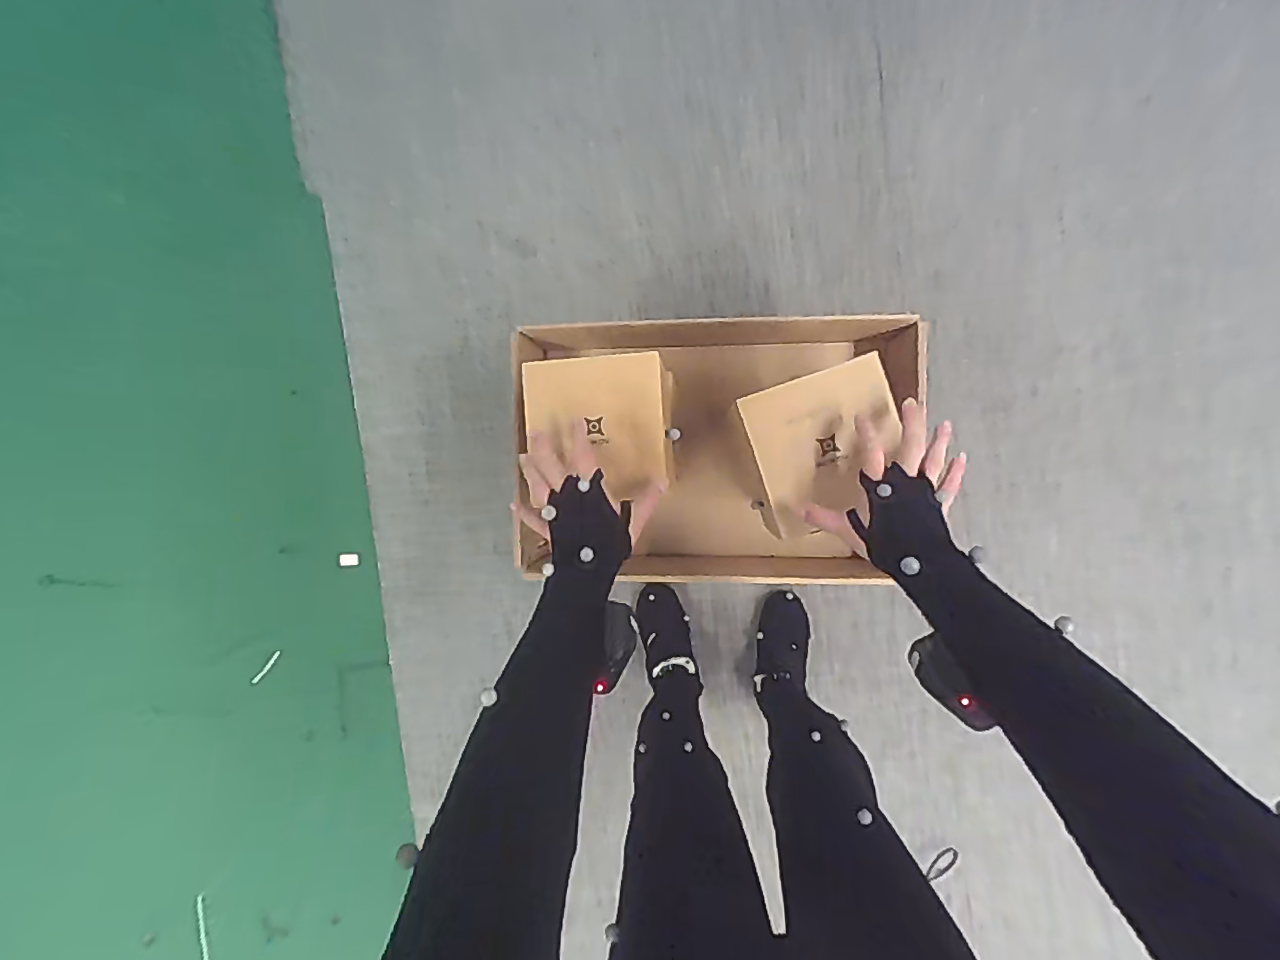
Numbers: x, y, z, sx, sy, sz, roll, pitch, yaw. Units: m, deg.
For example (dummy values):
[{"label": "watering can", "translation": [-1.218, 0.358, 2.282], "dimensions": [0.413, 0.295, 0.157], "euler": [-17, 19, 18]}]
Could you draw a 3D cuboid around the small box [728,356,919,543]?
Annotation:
[{"label": "small box", "translation": [0.218, -0.036, 0.687], "dimensions": [0.168, 0.176, 0.179], "euler": [-18, 89, 6]}]

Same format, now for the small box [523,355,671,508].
[{"label": "small box", "translation": [-0.048, -0.057, 0.719], "dimensions": [0.168, 0.176, 0.179], "euler": [-4, 91, 6]}]
